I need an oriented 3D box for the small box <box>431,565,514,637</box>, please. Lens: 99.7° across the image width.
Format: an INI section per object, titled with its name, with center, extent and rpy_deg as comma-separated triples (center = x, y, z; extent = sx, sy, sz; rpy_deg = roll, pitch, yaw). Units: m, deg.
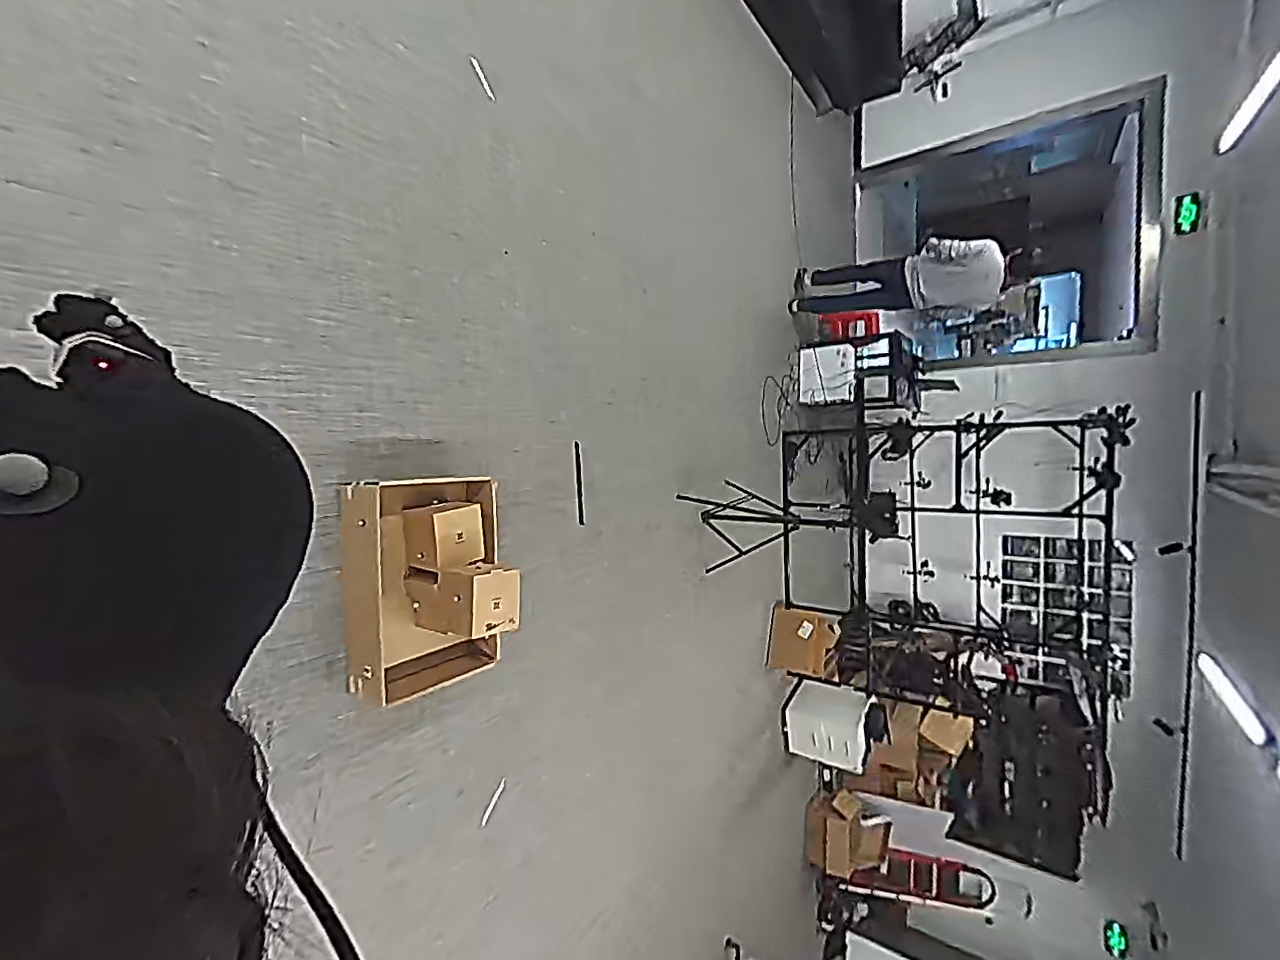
[small box]
center = -0.483, 0.339, 1.557
extent = 0.168, 0.176, 0.179
rpy_deg = 2, 87, -53
